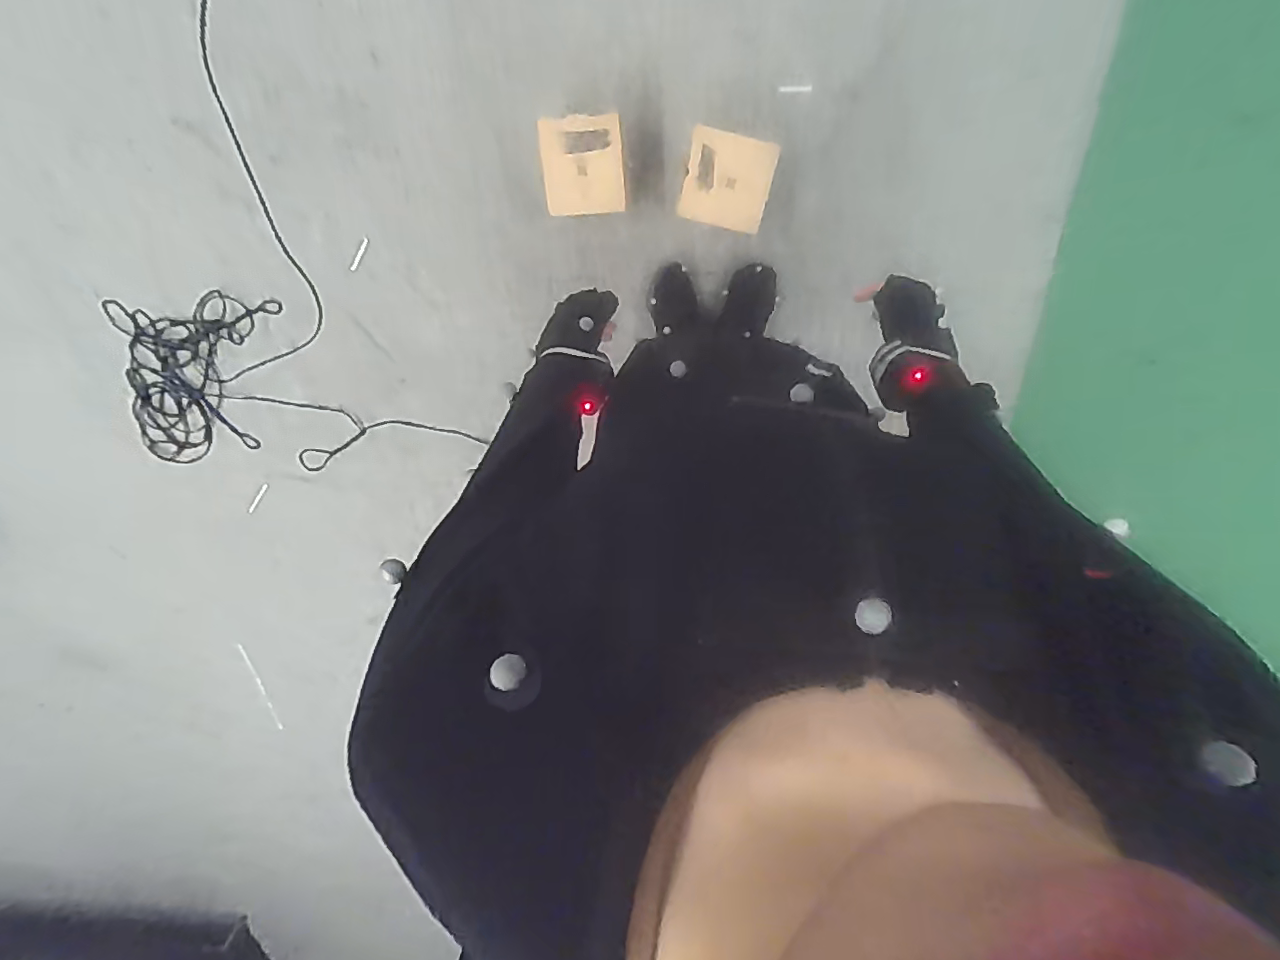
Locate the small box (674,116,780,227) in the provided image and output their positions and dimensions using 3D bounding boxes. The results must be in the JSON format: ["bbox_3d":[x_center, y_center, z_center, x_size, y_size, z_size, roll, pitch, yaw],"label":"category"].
[{"bbox_3d":[0.176,-0.646,1.147,0.179,0.176,0.168,12,117,-2],"label":"small box"}]
